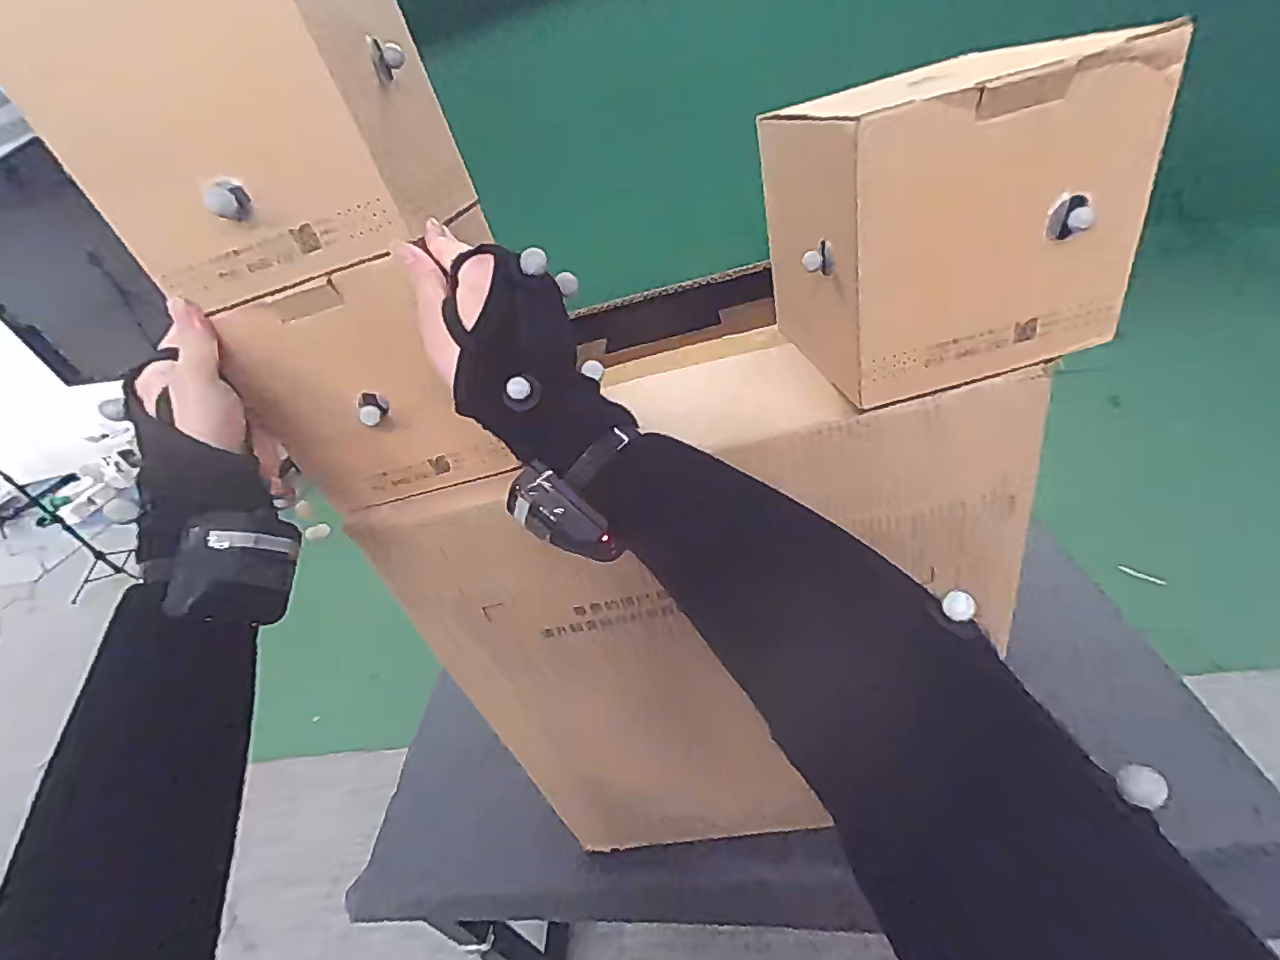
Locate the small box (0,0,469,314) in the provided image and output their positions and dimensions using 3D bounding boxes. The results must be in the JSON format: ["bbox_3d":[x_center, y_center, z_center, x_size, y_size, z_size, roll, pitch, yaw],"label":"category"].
[{"bbox_3d":[-0.236,-0.231,0.359,0.168,0.176,0.179,-14,35,8],"label":"small box"}]

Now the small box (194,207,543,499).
[{"bbox_3d":[-0.192,-0.101,0.450,0.168,0.176,0.179,-13,35,8],"label":"small box"}]

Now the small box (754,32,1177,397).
[{"bbox_3d":[0.190,-0.171,0.374,0.168,0.176,0.179,-14,33,2],"label":"small box"}]
